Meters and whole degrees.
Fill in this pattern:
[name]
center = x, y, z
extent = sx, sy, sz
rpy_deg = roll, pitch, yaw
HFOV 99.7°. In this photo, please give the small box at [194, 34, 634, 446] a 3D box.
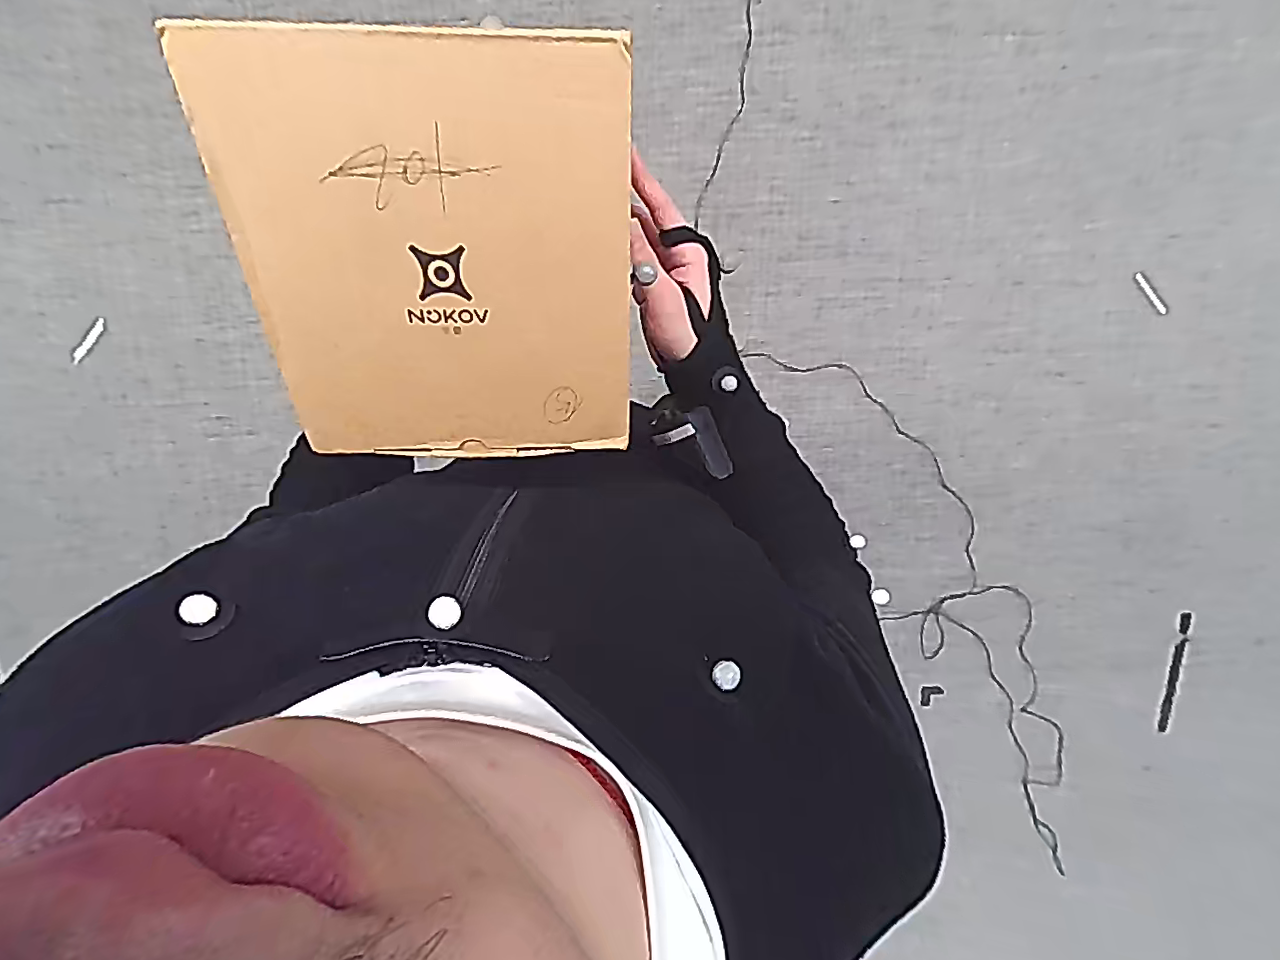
[small box]
center = -0.090, -0.136, 0.315
extent = 0.168, 0.176, 0.179
rpy_deg = -1, 124, -4
